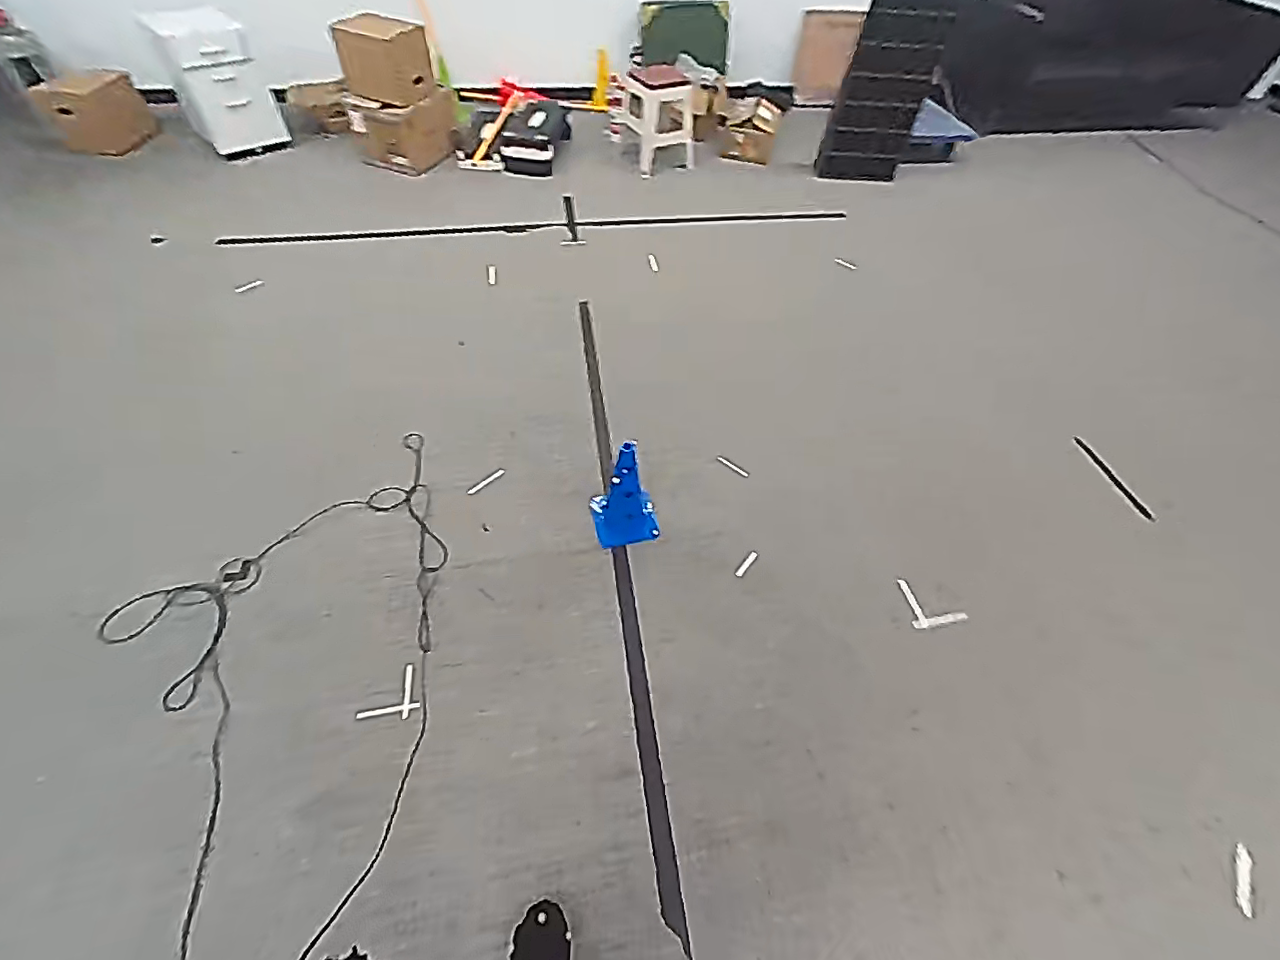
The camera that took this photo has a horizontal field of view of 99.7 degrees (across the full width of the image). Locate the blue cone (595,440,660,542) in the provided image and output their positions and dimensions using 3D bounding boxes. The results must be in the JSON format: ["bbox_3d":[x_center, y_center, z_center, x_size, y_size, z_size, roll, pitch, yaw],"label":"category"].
[{"bbox_3d":[-0.034,0.017,1.648,0.192,0.380,0.193,-7,53,-11],"label":"blue cone"}]
